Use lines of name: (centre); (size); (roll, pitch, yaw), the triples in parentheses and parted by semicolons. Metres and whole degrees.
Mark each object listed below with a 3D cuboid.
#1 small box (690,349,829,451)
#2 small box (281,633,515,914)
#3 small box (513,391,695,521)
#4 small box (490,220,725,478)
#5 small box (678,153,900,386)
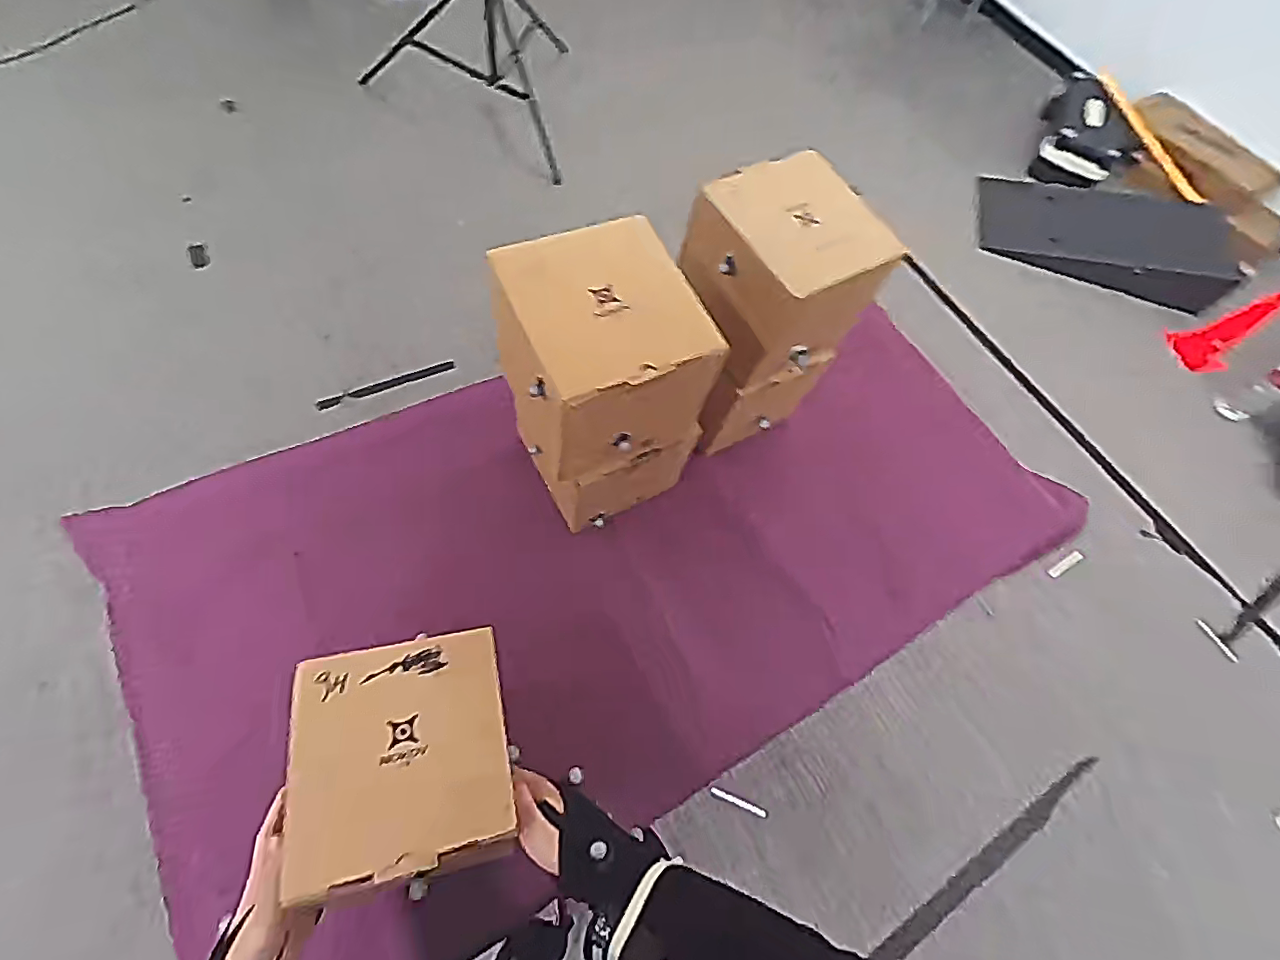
small box: (0.133, -0.173, 0.797); (0.168, 0.176, 0.179); (-25, 72, -19)
small box: (-0.210, 0.271, 0.506); (0.168, 0.176, 0.179); (-7, 54, -19)
small box: (-0.054, -0.063, 0.715); (0.168, 0.176, 0.179); (-26, 71, -20)
small box: (-0.044, -0.130, 0.566); (0.168, 0.176, 0.179); (-23, 72, -19)
small box: (0.159, -0.247, 0.655); (0.168, 0.176, 0.179); (-28, 74, -19)
